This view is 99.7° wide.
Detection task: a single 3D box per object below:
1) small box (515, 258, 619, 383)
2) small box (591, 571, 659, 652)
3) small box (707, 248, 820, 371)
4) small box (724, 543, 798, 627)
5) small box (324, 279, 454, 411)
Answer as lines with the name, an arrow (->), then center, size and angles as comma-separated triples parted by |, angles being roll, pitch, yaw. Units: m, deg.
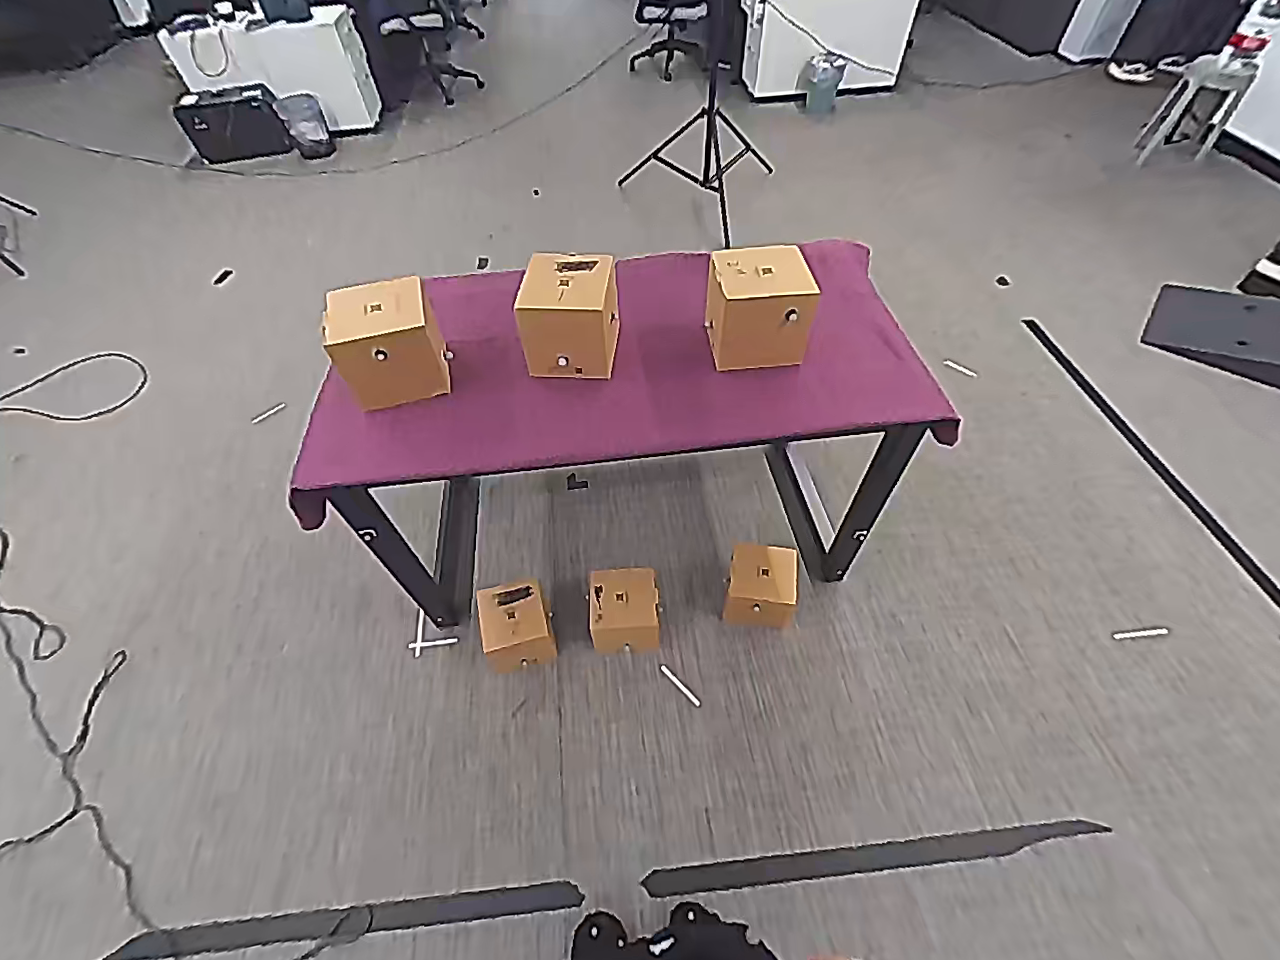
small box -> -0.135, -0.318, 1.078 | 0.168, 0.176, 0.179 | 3, 54, 5
small box -> -0.039, 0.361, 1.477 | 0.179, 0.176, 0.168 | -3, 53, 0
small box -> 0.234, -0.335, 1.074 | 0.179, 0.176, 0.168 | -5, 52, -1
small box -> 0.334, 0.298, 1.509 | 0.179, 0.176, 0.168 | 6, 54, 9
small box -> -0.480, -0.257, 1.048 | 0.179, 0.176, 0.168 | -15, 55, -10
